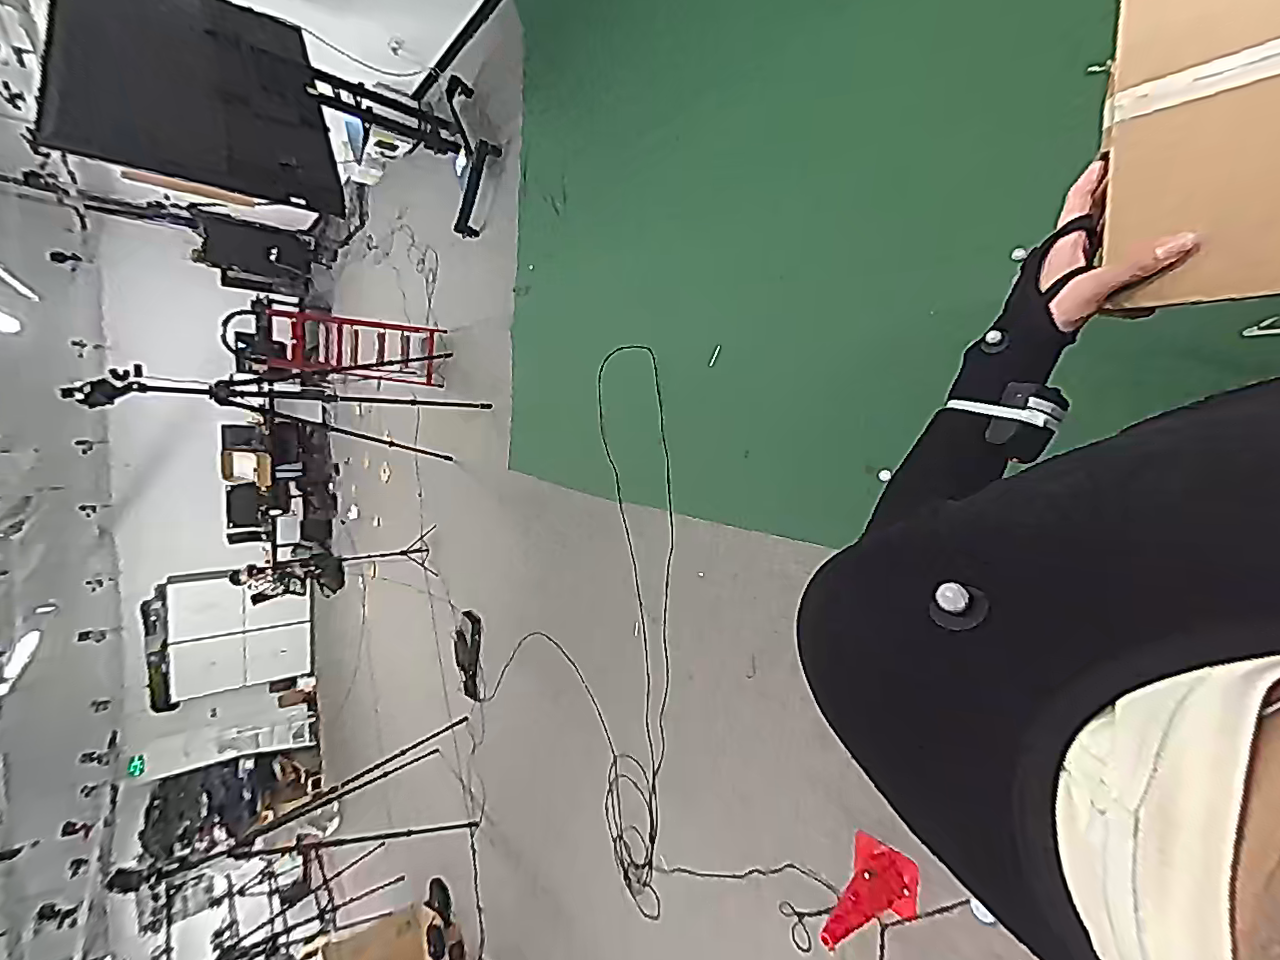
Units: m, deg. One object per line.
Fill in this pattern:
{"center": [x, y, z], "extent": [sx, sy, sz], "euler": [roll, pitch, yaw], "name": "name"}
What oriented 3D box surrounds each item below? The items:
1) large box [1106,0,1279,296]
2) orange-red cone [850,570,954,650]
{"center": [0.621, -0.326, 0.378], "extent": [0.408, 0.320, 0.320], "euler": [9, 112, 49], "name": "large box"}
{"center": [0.699, 0.395, 1.531], "extent": [0.199, 0.360, 0.198], "euler": [22, 108, 48], "name": "orange-red cone"}
